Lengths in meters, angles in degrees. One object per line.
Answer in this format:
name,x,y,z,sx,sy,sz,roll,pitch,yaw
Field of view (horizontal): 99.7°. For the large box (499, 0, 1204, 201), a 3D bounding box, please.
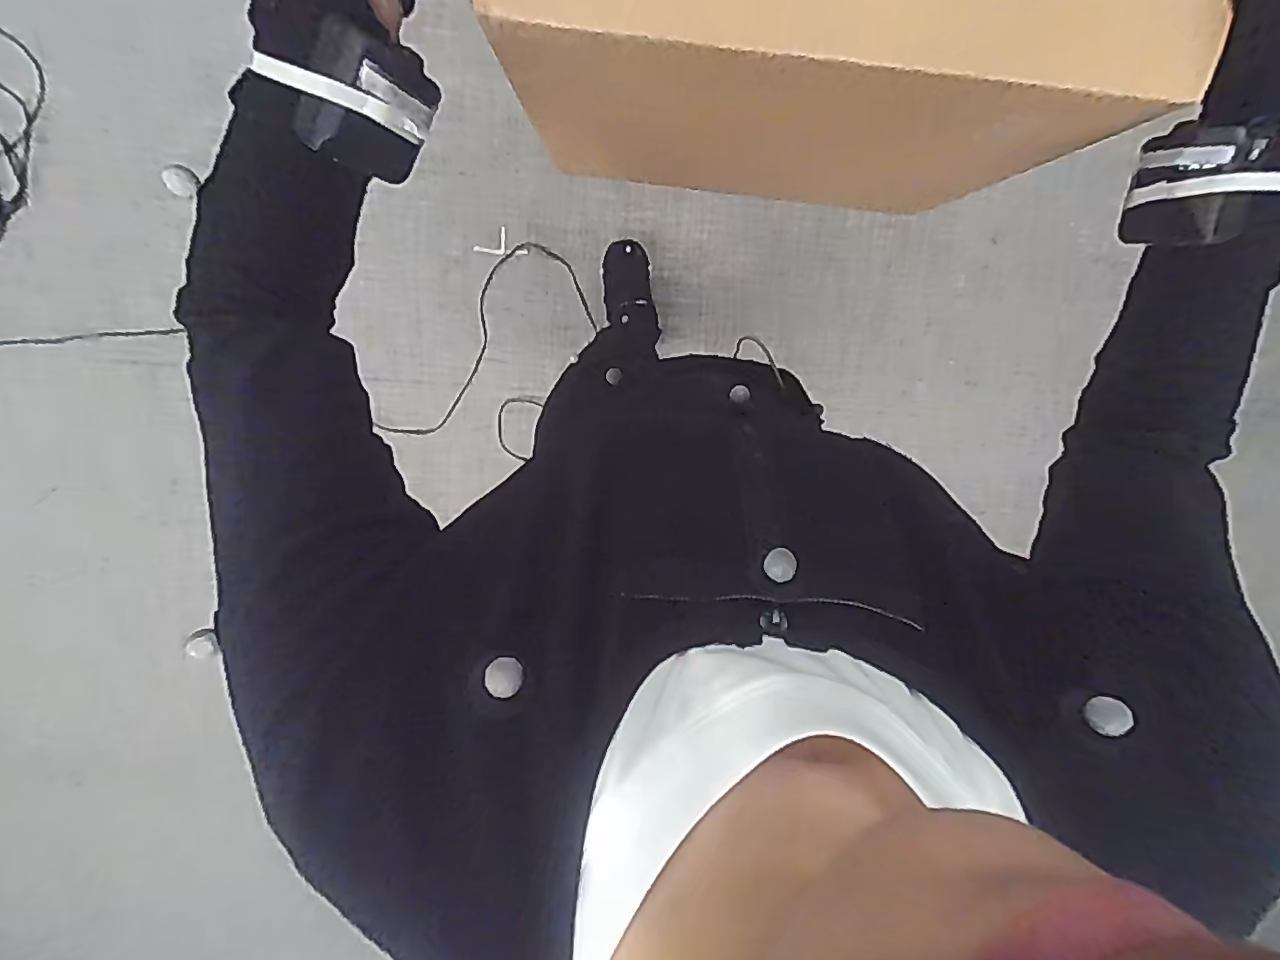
large box,0.124,-0.429,0.410,0.408,0.320,0.320,5,106,-3
